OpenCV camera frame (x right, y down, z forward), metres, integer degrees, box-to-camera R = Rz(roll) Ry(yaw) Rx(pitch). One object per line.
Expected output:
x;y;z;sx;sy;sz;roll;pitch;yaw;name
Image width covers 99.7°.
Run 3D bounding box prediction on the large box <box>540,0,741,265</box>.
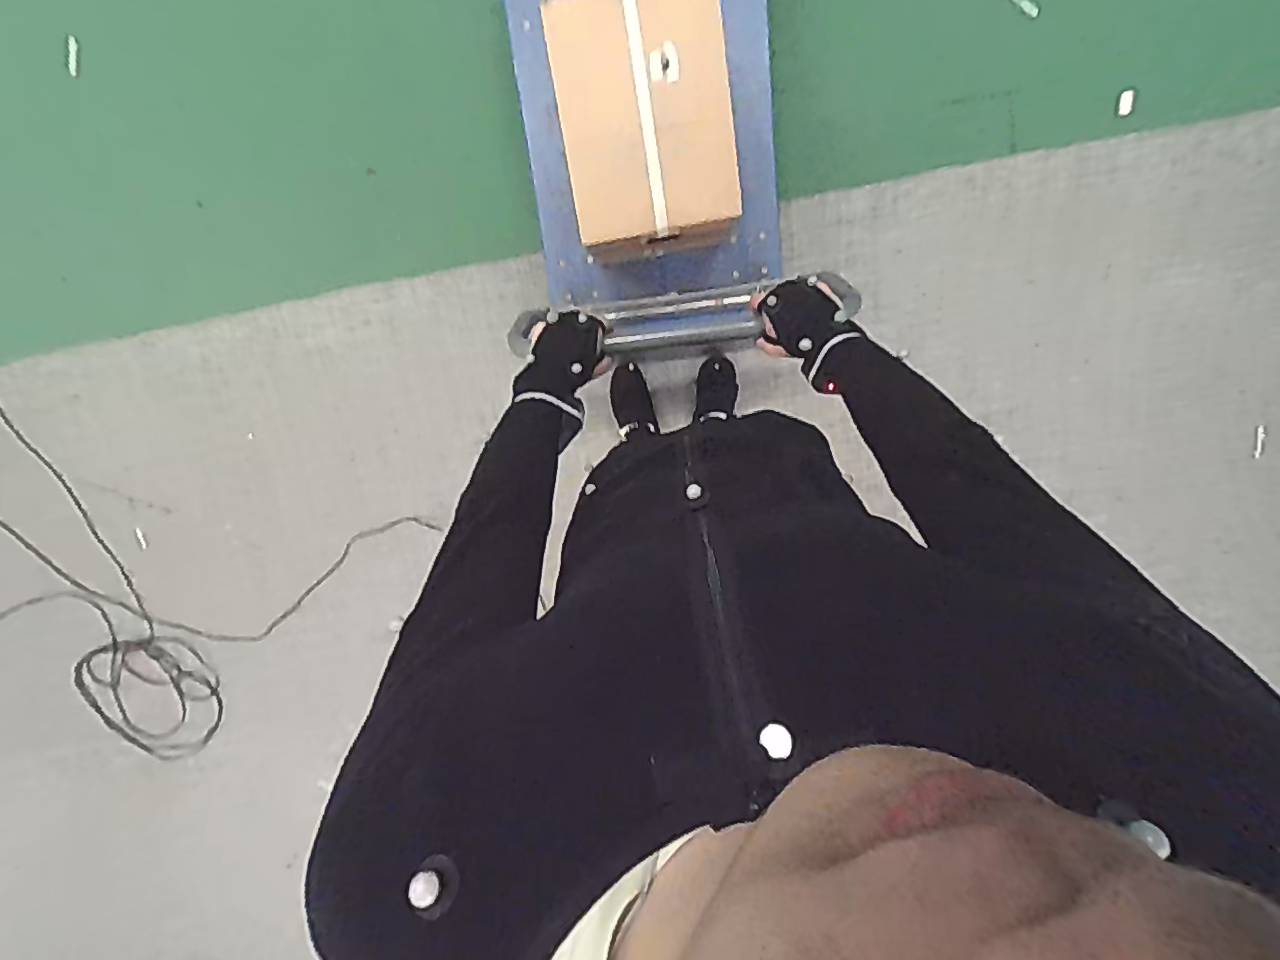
0.016;-0.704;1.134;0.320;0.320;0.408;-9;105;5;large box
